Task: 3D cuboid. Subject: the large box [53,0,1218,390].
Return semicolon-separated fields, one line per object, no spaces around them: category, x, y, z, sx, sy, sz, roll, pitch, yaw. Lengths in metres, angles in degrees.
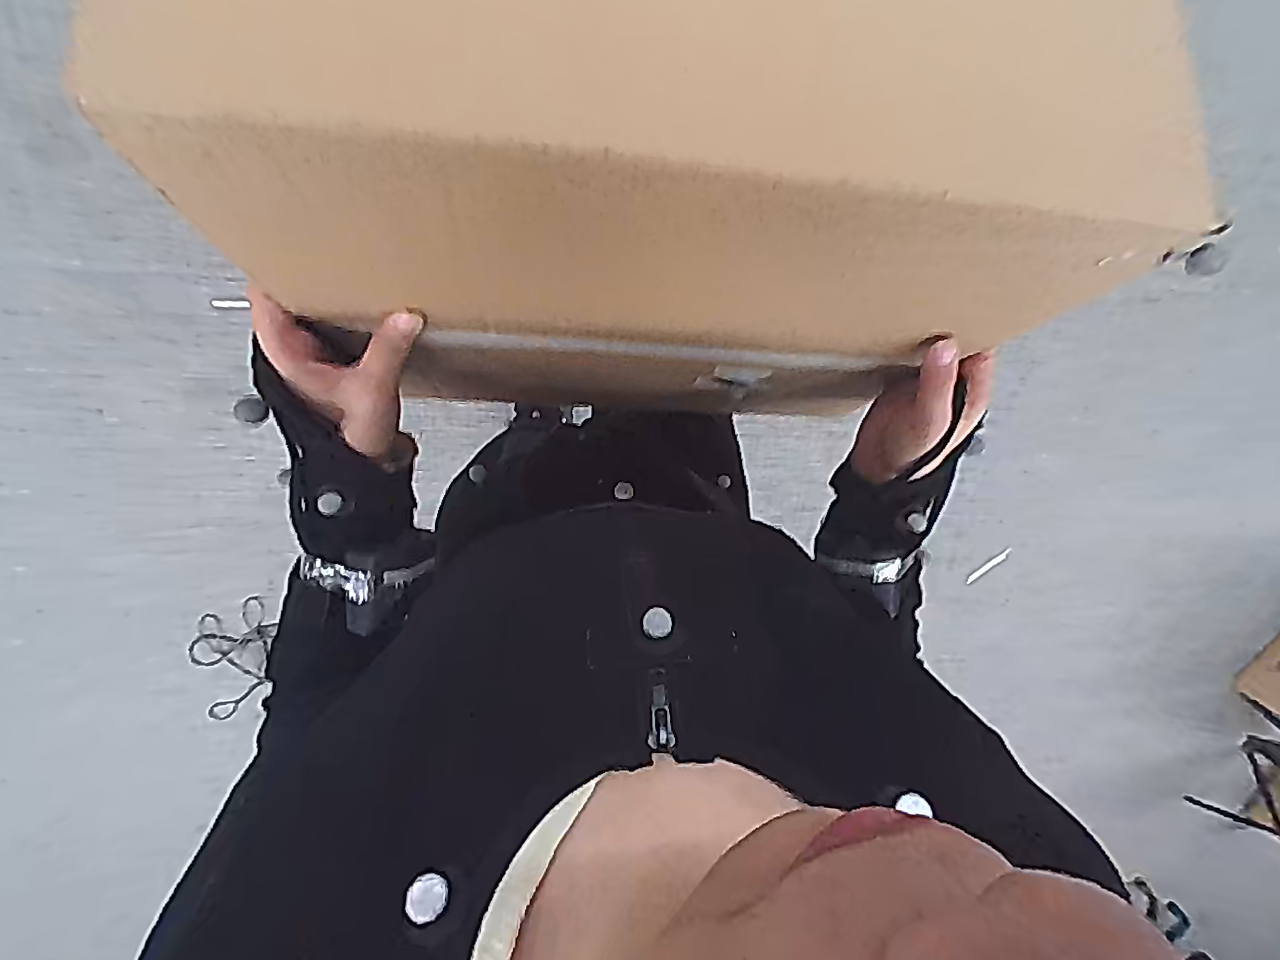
large box;0.000;-0.250;0.343;0.408;0.320;0.320;0;85;-8
